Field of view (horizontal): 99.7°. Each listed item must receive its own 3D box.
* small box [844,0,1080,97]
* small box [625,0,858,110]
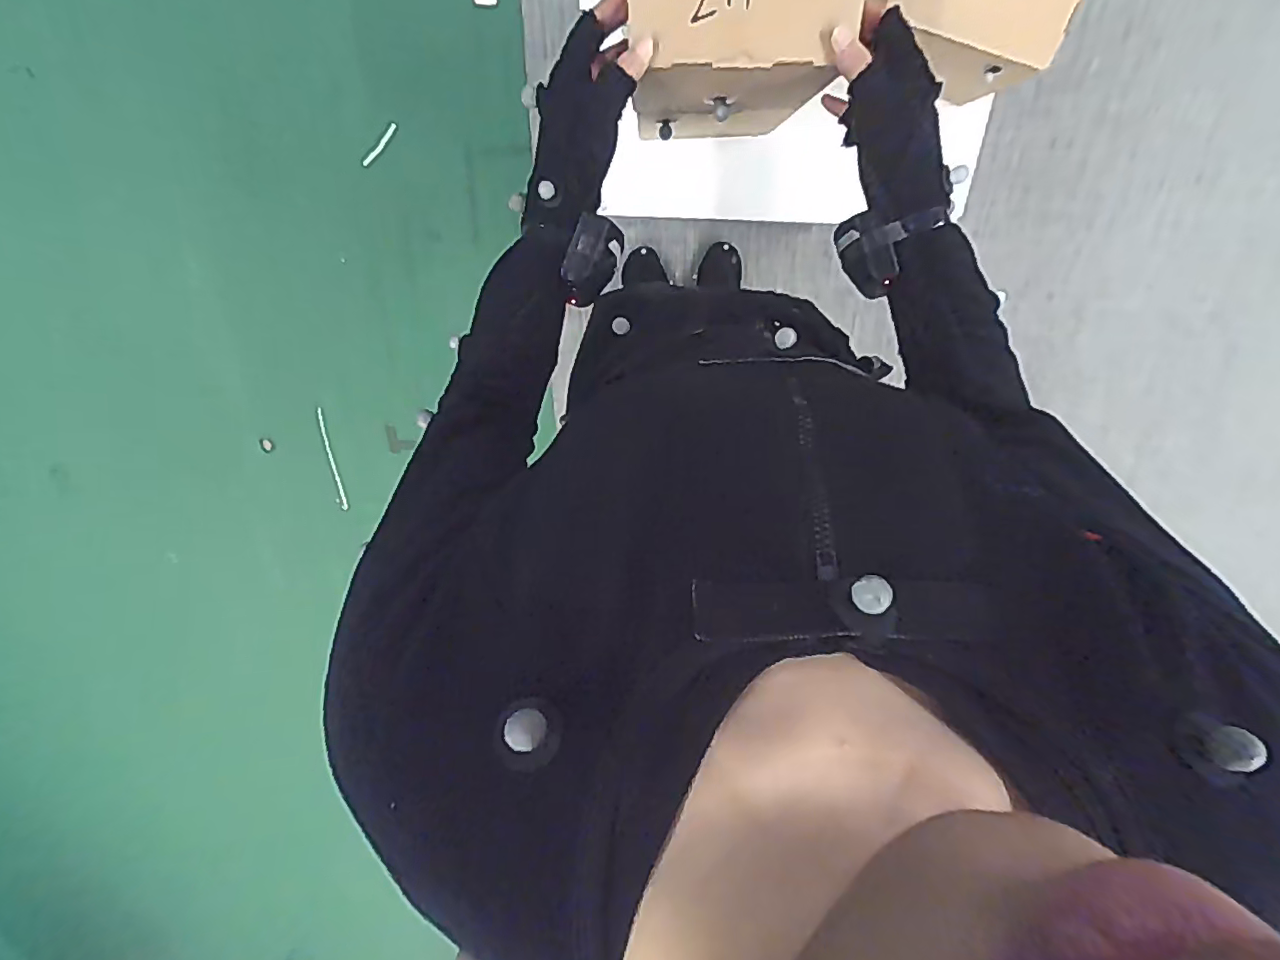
[{"bbox_3d":[0.332,-0.522,0.553,0.179,0.176,0.168,13,115,-4],"label":"small box"},{"bbox_3d":[0.072,-0.415,0.426,0.168,0.176,0.179,1,115,1],"label":"small box"}]
